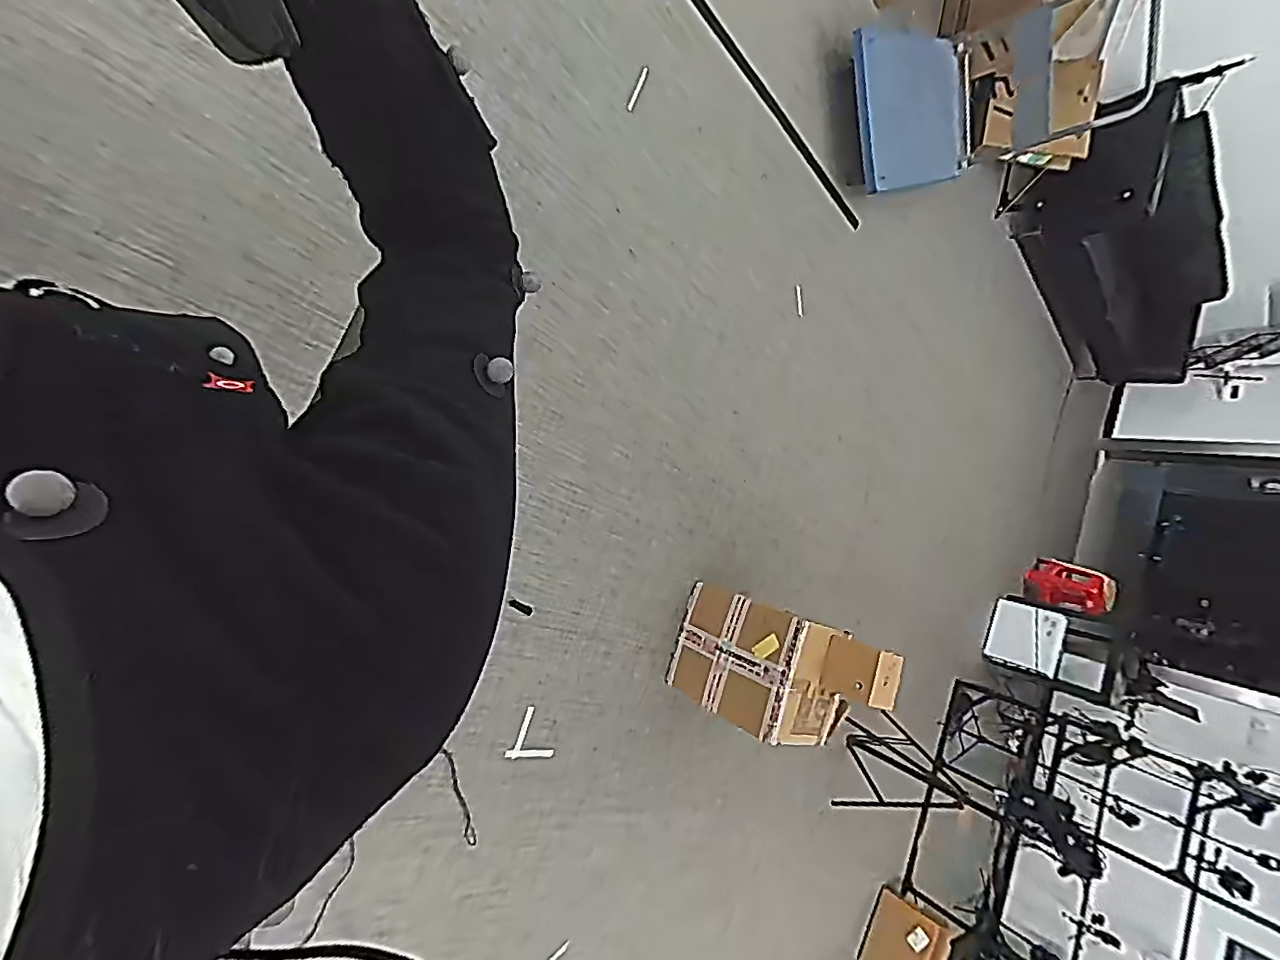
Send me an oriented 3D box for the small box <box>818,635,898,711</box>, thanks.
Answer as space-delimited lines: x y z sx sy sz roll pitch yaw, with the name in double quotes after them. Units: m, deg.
0.701 0.622 1.751 0.168 0.176 0.179 26 77 -37 "small box"
